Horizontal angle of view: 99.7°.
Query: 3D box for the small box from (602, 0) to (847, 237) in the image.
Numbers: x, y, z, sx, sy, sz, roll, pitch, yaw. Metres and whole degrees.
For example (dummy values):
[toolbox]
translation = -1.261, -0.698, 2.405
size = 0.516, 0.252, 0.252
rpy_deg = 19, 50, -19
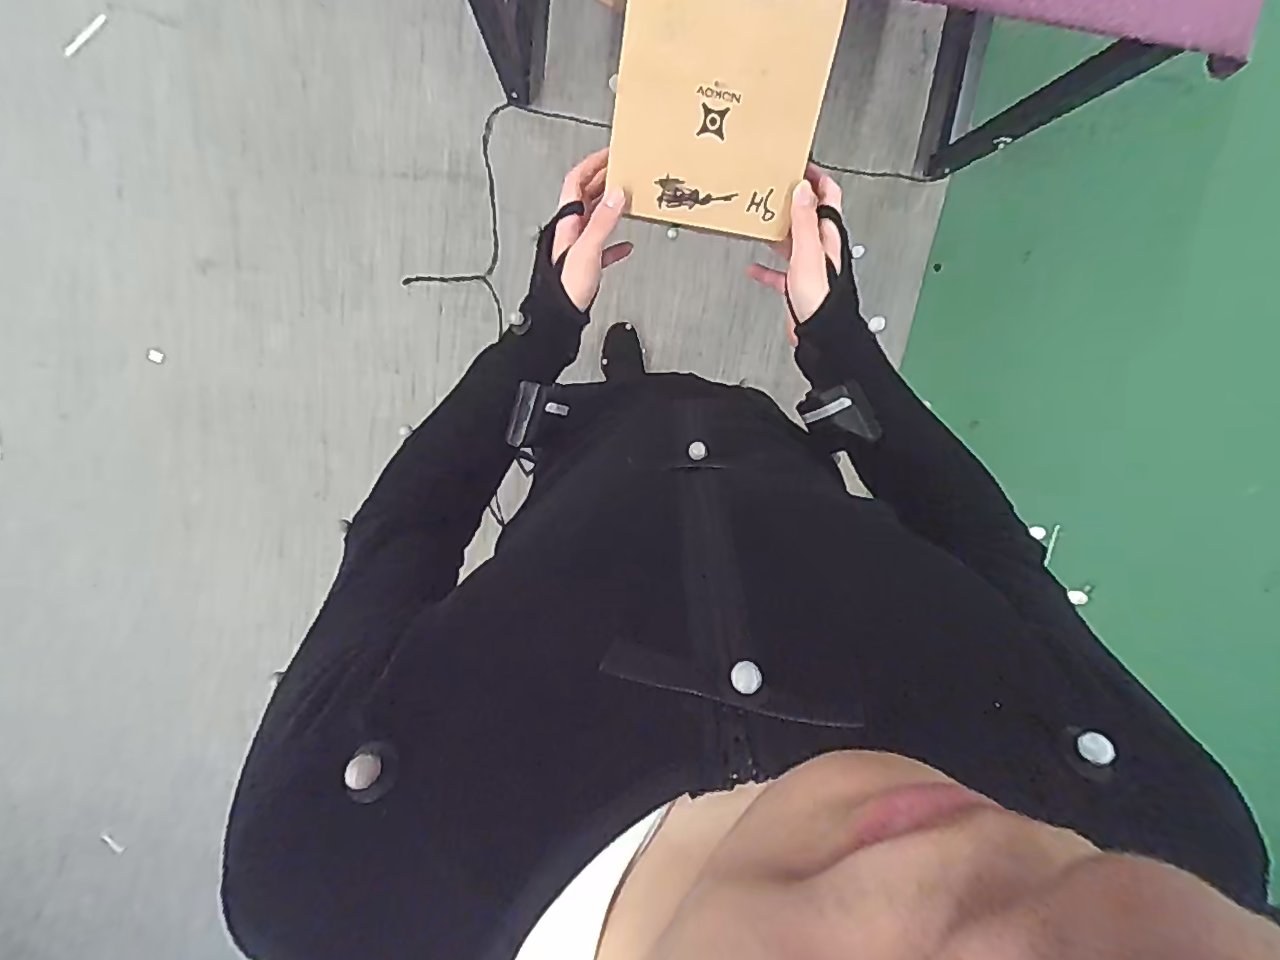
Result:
[small box]
translation = 0.063, -0.335, 0.502
size = 0.168, 0.176, 0.179
rpy_deg = 9, 115, -3
